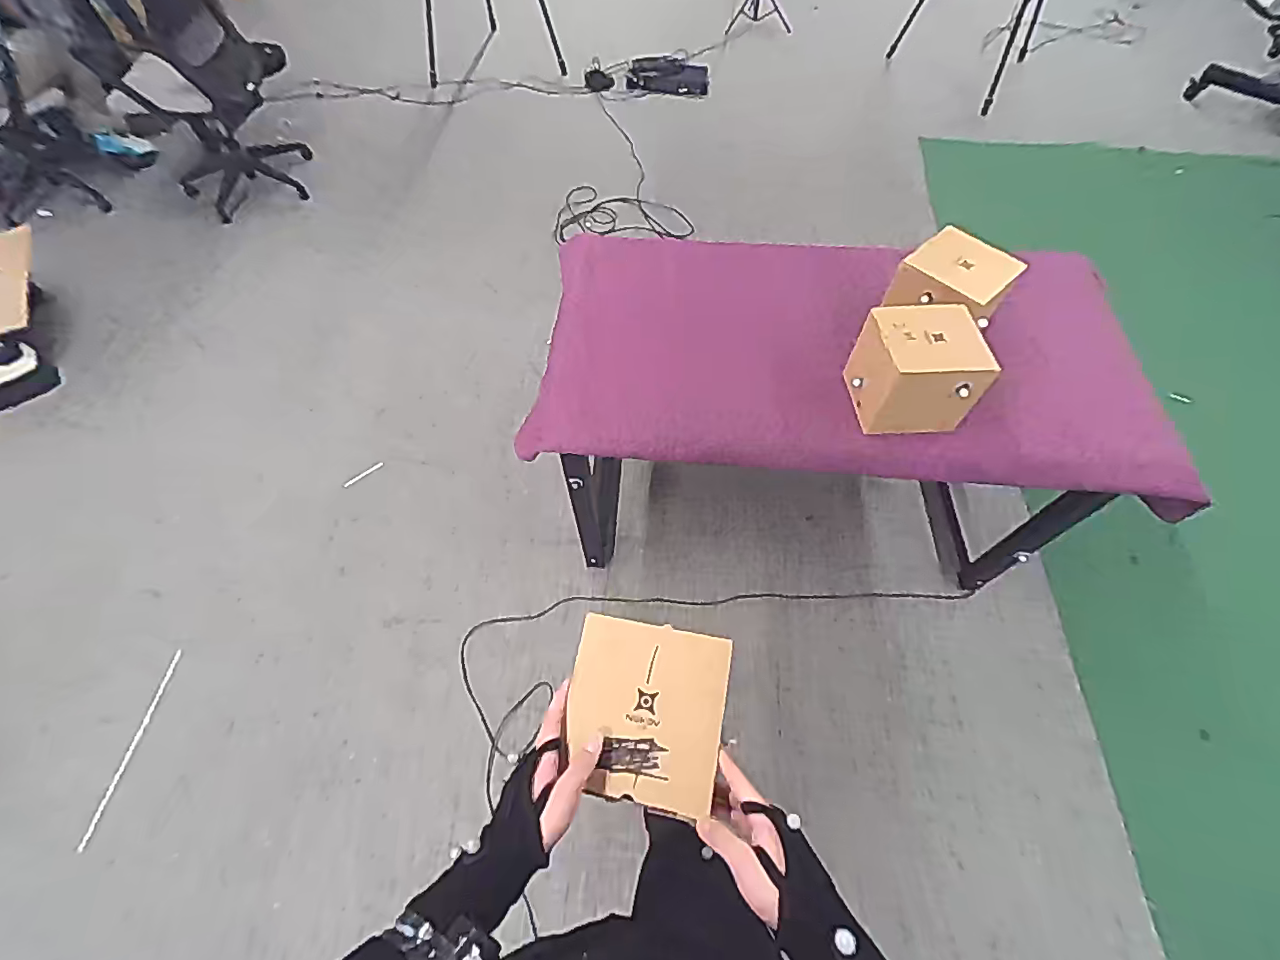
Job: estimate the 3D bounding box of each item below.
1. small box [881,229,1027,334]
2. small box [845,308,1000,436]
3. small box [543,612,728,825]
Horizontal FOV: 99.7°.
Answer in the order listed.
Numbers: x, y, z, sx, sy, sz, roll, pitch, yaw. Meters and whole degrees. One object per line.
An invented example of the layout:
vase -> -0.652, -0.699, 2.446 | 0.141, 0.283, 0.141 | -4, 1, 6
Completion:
small box -> 0.620, -0.366, 1.100 | 0.168, 0.176, 0.179 | -38, 65, -20
small box -> 0.503, -0.194, 0.992 | 0.179, 0.176, 0.168 | -2, 57, 0
small box -> 0.004, 0.268, 0.630 | 0.168, 0.176, 0.179 | 9, 68, 7
